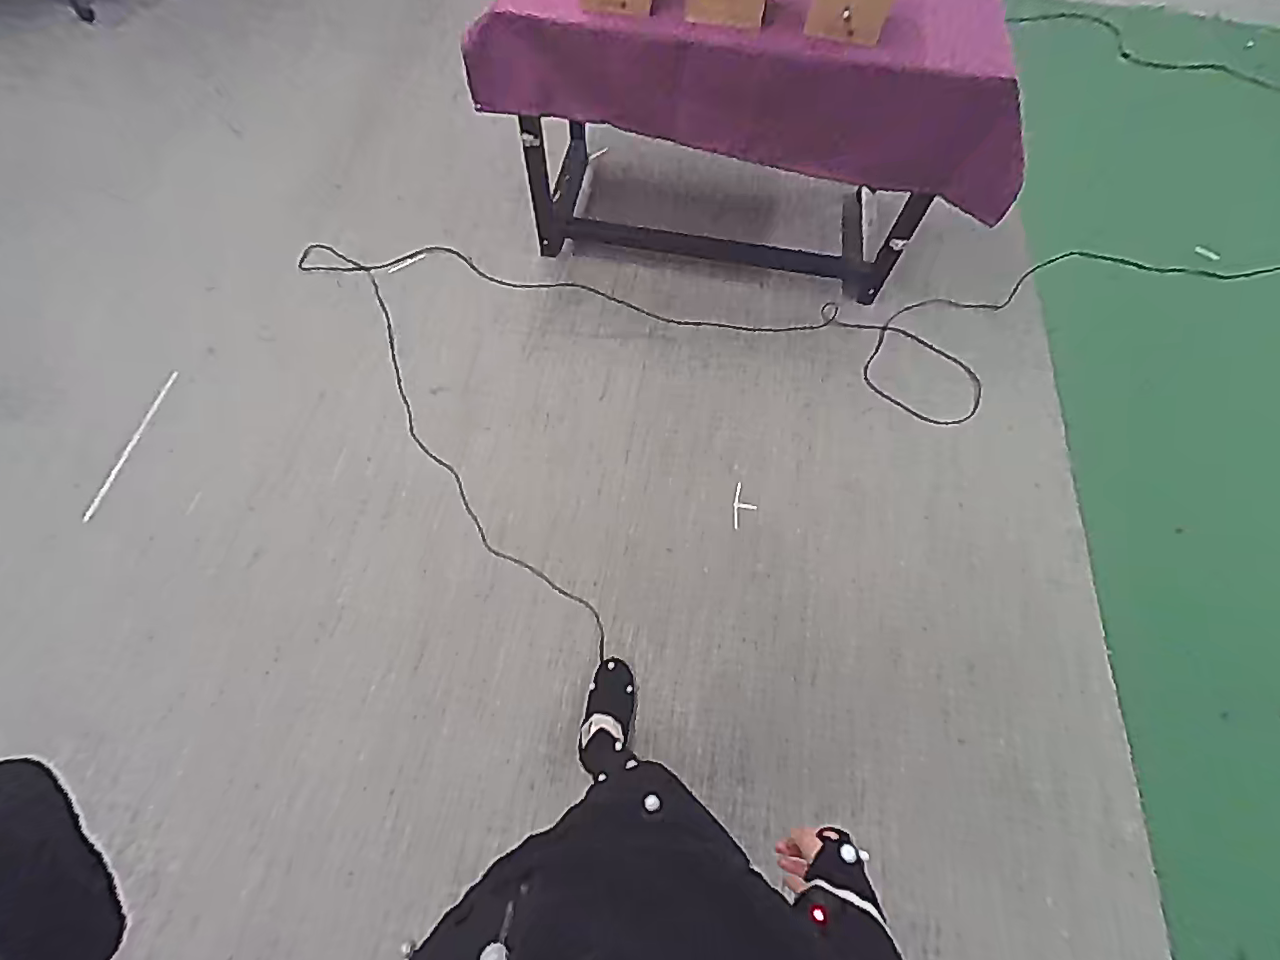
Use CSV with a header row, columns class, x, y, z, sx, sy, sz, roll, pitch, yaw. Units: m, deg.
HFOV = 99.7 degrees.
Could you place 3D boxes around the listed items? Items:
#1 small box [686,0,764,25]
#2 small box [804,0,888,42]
class,x,y,z,sx,sy,sz,roll,pitch,yaw
small box,0.201,-1.160,1.208,0.179,0.176,0.168,8,66,2
small box,0.474,-1.120,1.195,0.168,0.176,0.179,14,65,5
